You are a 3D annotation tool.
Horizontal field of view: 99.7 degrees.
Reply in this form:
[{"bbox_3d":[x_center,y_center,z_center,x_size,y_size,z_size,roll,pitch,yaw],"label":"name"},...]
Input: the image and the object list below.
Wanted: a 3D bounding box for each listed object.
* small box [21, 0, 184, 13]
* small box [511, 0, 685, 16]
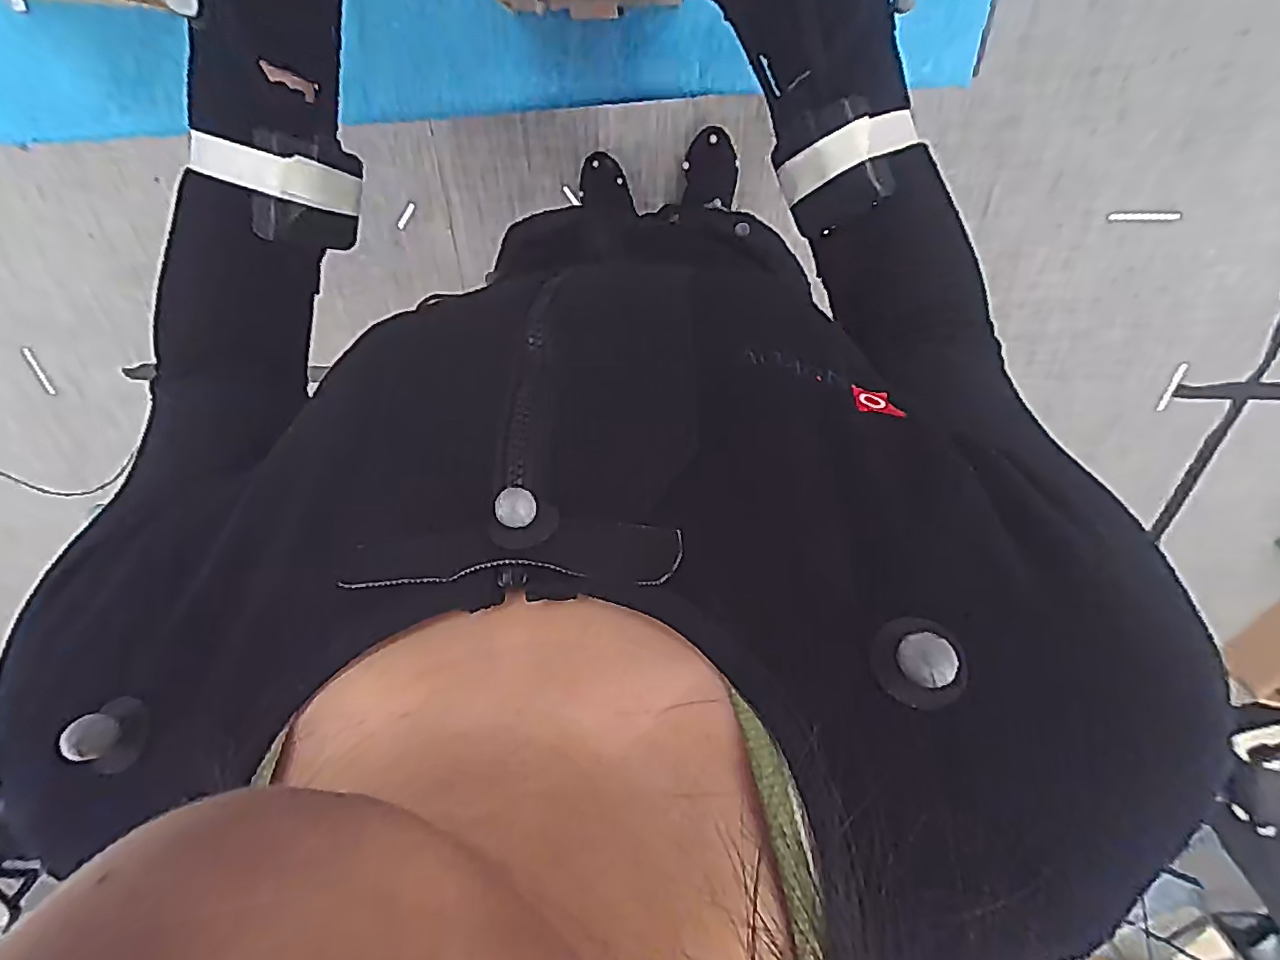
[{"bbox_3d":[-0.517,-0.485,0.407,0.168,0.176,0.179,4,124,-1],"label":"small box"},{"bbox_3d":[-0.047,-0.473,0.394,0.168,0.176,0.179,0,122,3],"label":"small box"}]
